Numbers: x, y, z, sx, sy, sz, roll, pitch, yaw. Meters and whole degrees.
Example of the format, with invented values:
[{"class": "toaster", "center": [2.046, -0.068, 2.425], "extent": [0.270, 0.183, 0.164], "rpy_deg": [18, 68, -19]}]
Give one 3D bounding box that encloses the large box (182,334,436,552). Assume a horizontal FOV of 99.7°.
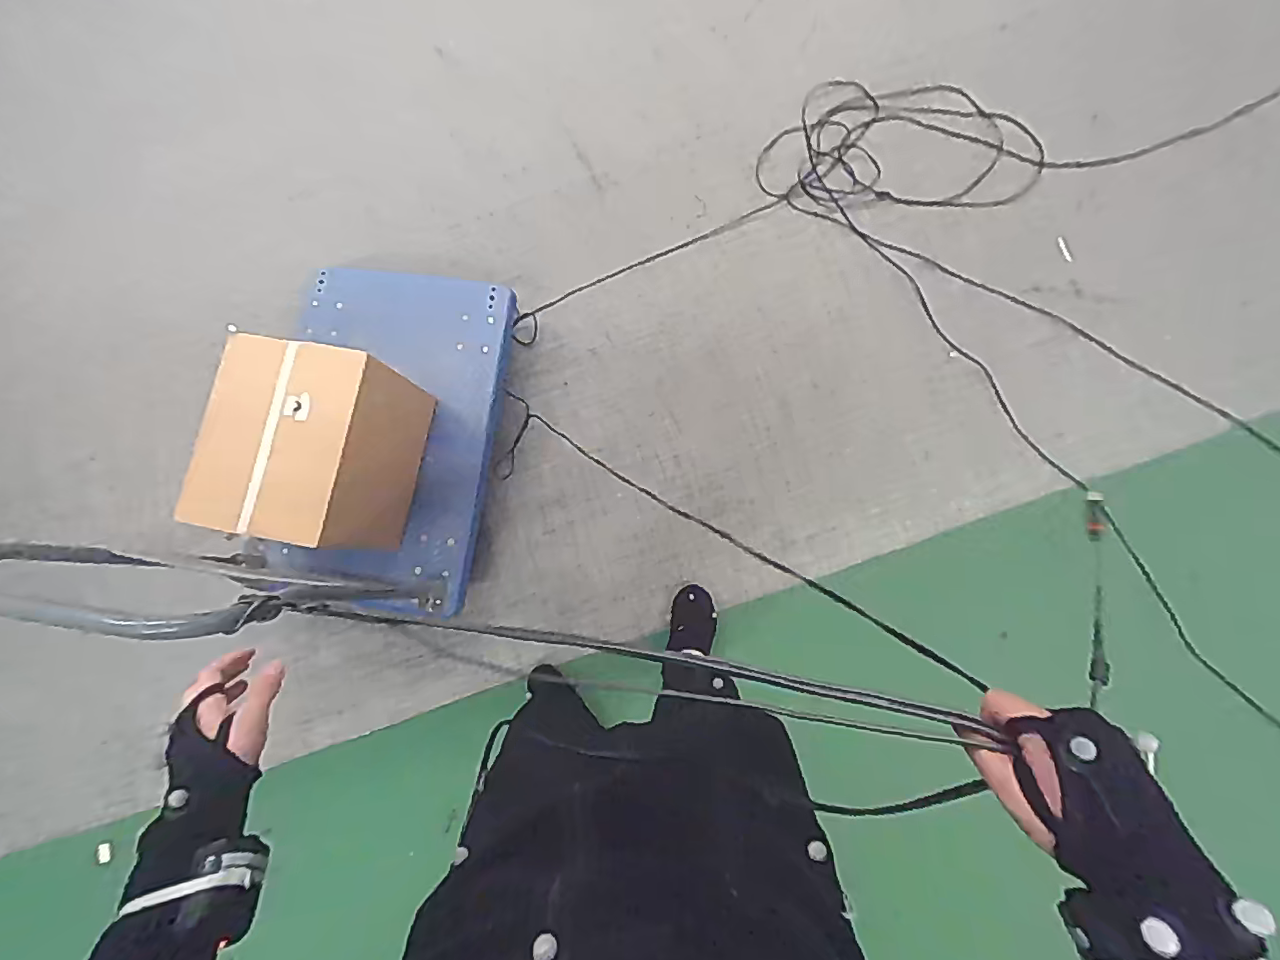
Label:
[{"class": "large box", "center": [-0.706, -0.062, 1.215], "extent": [0.320, 0.320, 0.408], "rpy_deg": [10, 82, 6]}]
